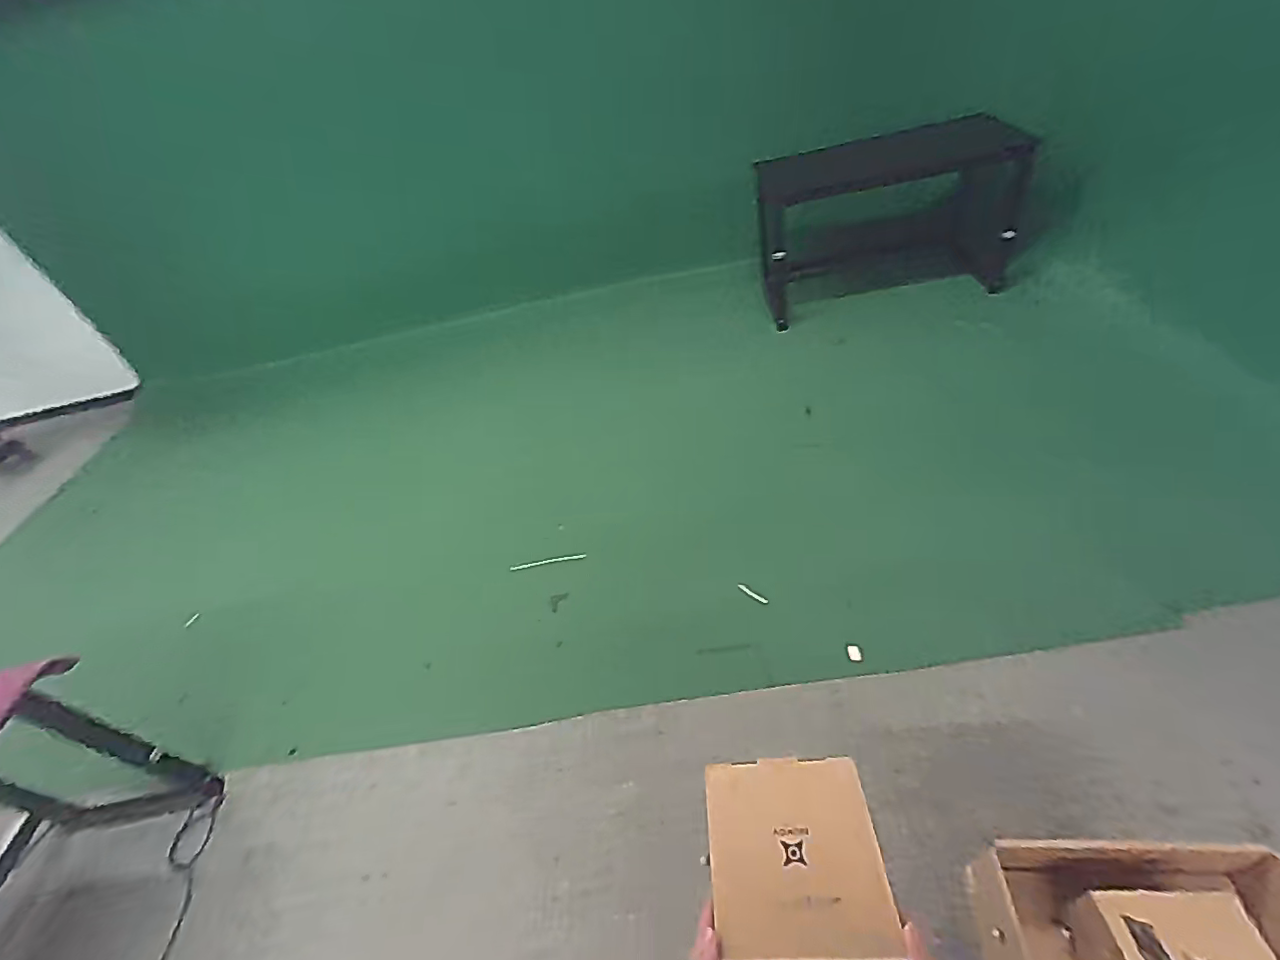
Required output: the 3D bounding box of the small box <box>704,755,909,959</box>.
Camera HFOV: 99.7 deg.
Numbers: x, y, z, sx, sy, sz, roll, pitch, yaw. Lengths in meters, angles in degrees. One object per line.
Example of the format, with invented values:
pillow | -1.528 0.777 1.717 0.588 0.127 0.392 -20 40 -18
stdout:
small box | 0.158 0.421 0.573 0.168 0.176 0.179 -6 37 6
